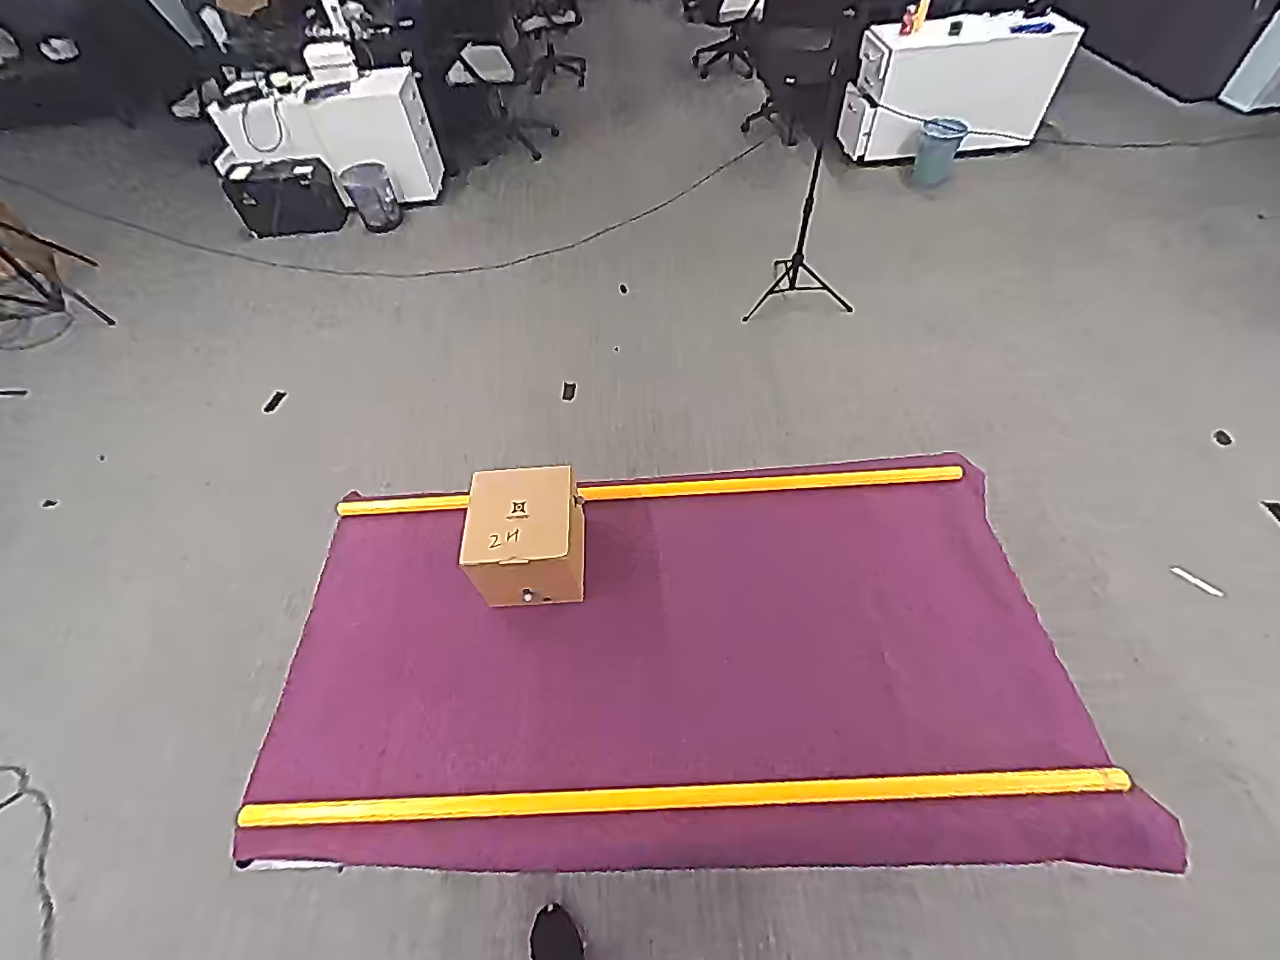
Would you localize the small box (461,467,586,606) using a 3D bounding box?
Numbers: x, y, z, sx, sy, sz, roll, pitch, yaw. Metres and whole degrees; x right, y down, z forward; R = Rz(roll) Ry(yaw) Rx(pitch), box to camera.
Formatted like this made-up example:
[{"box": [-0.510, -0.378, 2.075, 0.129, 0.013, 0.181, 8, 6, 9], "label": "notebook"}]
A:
[{"box": [-0.187, 0.098, 0.923, 0.168, 0.176, 0.179, -4, 55, 2], "label": "small box"}]
